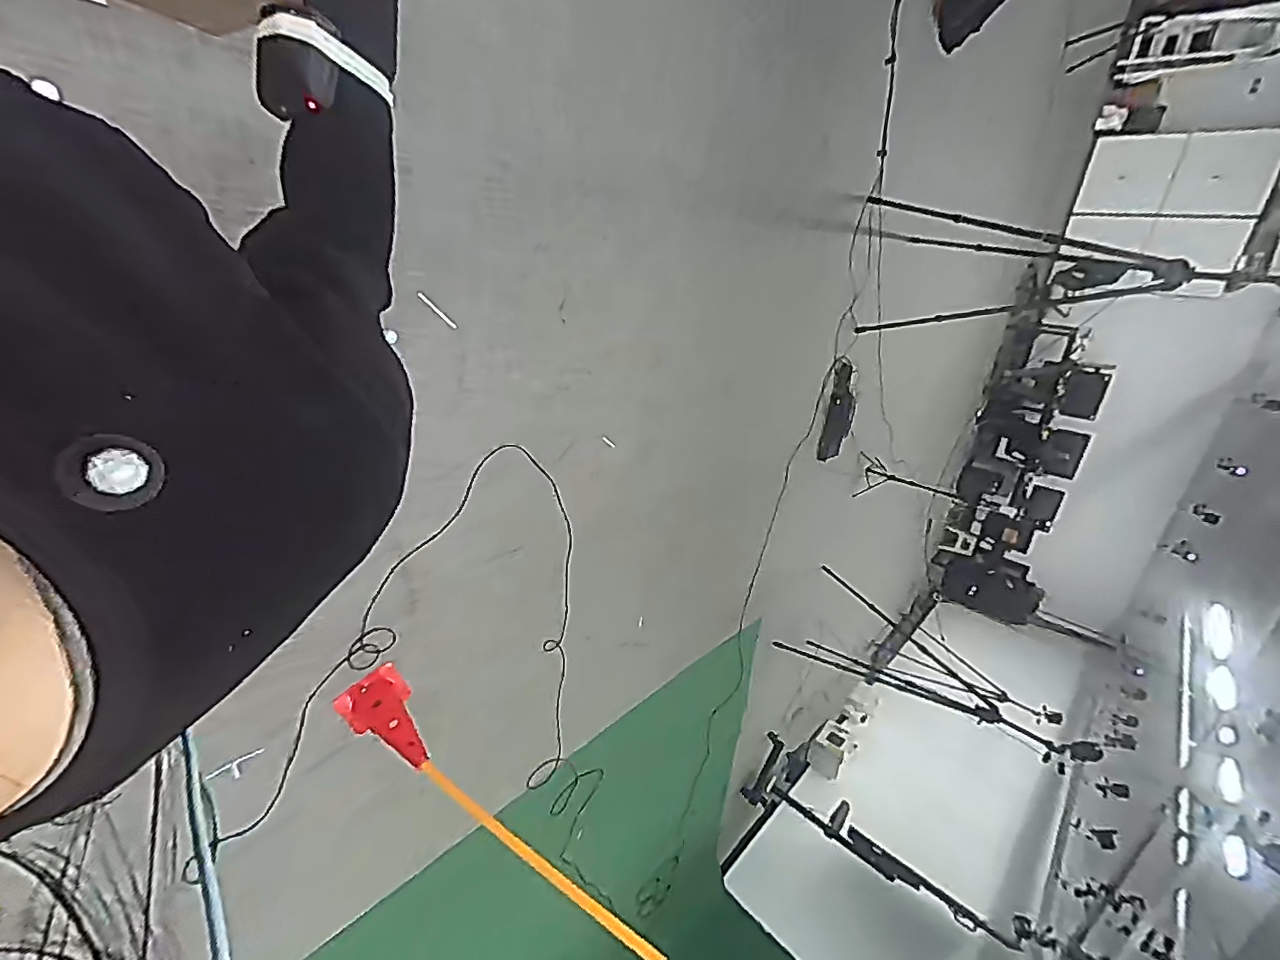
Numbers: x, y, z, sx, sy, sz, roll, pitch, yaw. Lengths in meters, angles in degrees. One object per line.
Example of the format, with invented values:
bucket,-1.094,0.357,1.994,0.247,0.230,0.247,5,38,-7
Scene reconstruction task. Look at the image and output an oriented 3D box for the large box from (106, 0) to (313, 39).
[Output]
large box,-0.460,-0.537,0.318,0.408,0.320,0.320,-10,119,-45
